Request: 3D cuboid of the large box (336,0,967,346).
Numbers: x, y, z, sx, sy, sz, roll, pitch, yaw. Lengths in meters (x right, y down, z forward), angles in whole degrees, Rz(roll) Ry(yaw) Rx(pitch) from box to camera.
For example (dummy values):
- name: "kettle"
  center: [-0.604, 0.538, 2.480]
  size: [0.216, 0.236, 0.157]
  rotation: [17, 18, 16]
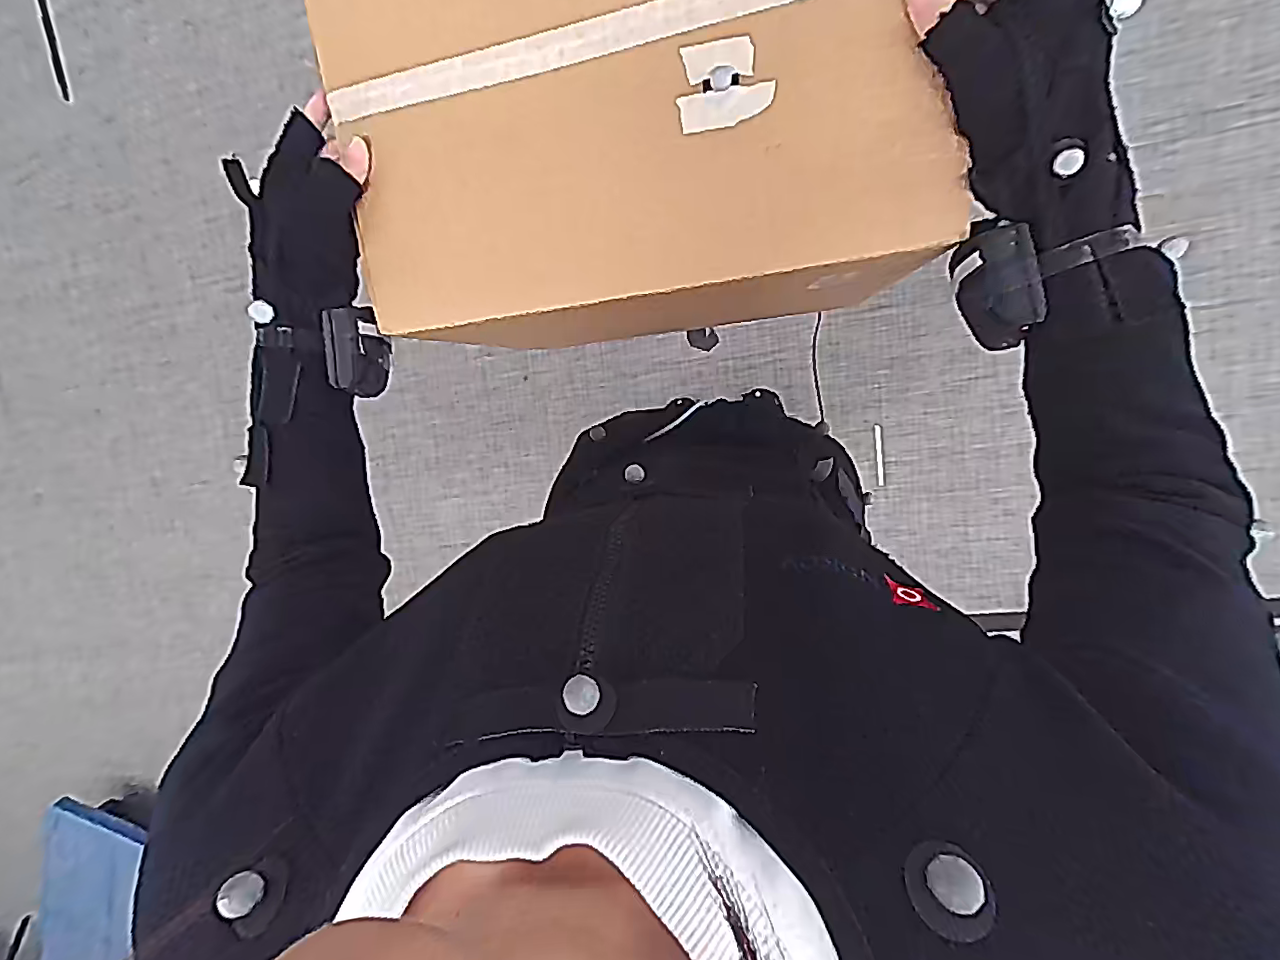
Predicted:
- name: "large box"
  center: [0.014, -0.315, 0.495]
  size: [0.408, 0.320, 0.320]
  rotation: [-6, 101, 11]
